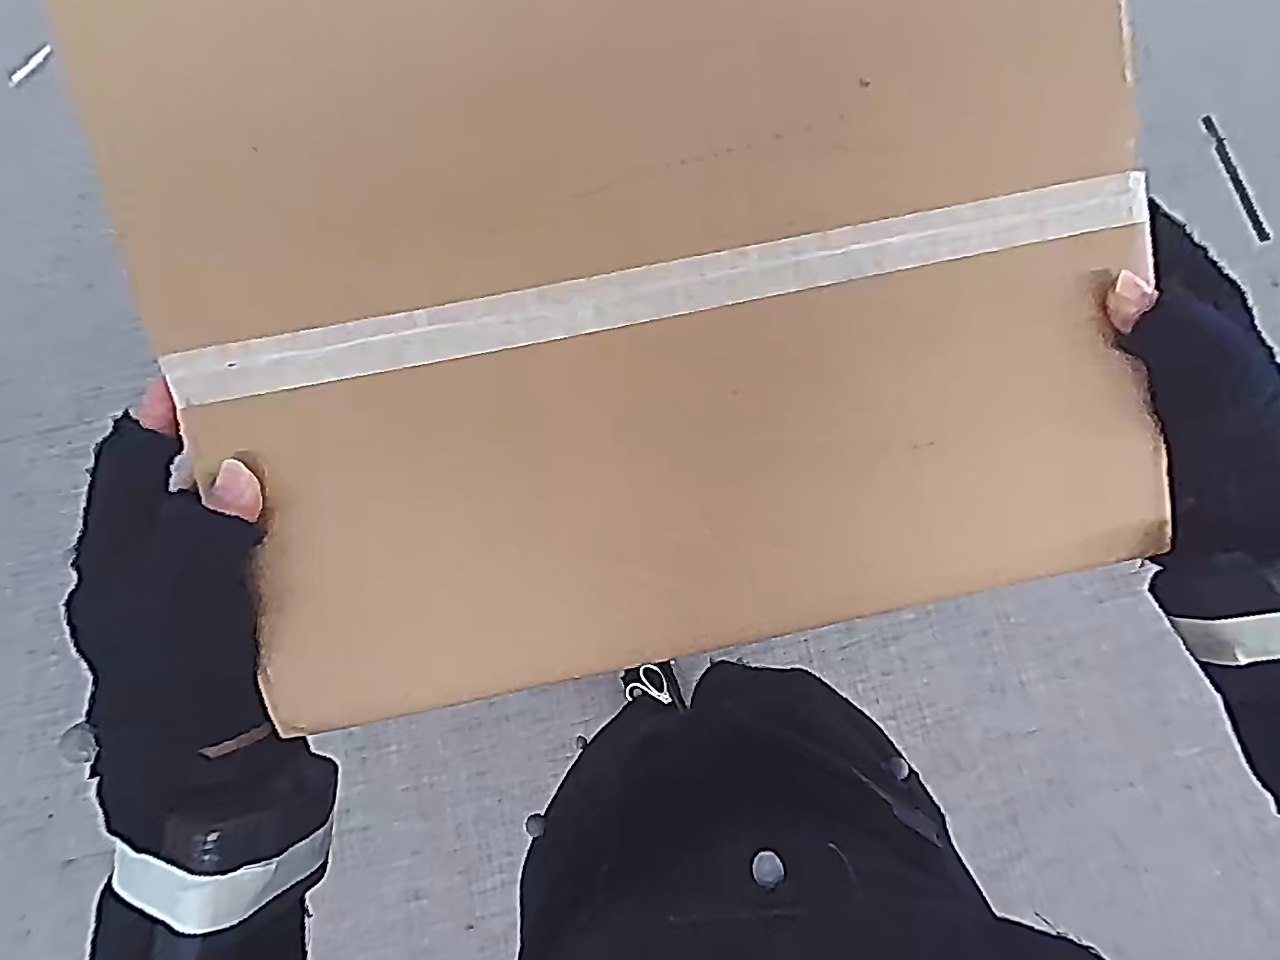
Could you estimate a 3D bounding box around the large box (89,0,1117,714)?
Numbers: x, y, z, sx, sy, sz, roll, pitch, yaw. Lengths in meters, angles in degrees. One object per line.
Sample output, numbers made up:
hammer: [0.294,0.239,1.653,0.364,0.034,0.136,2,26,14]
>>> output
large box: [0.003,-0.100,0.381,0.408,0.320,0.320,-11,97,-2]
